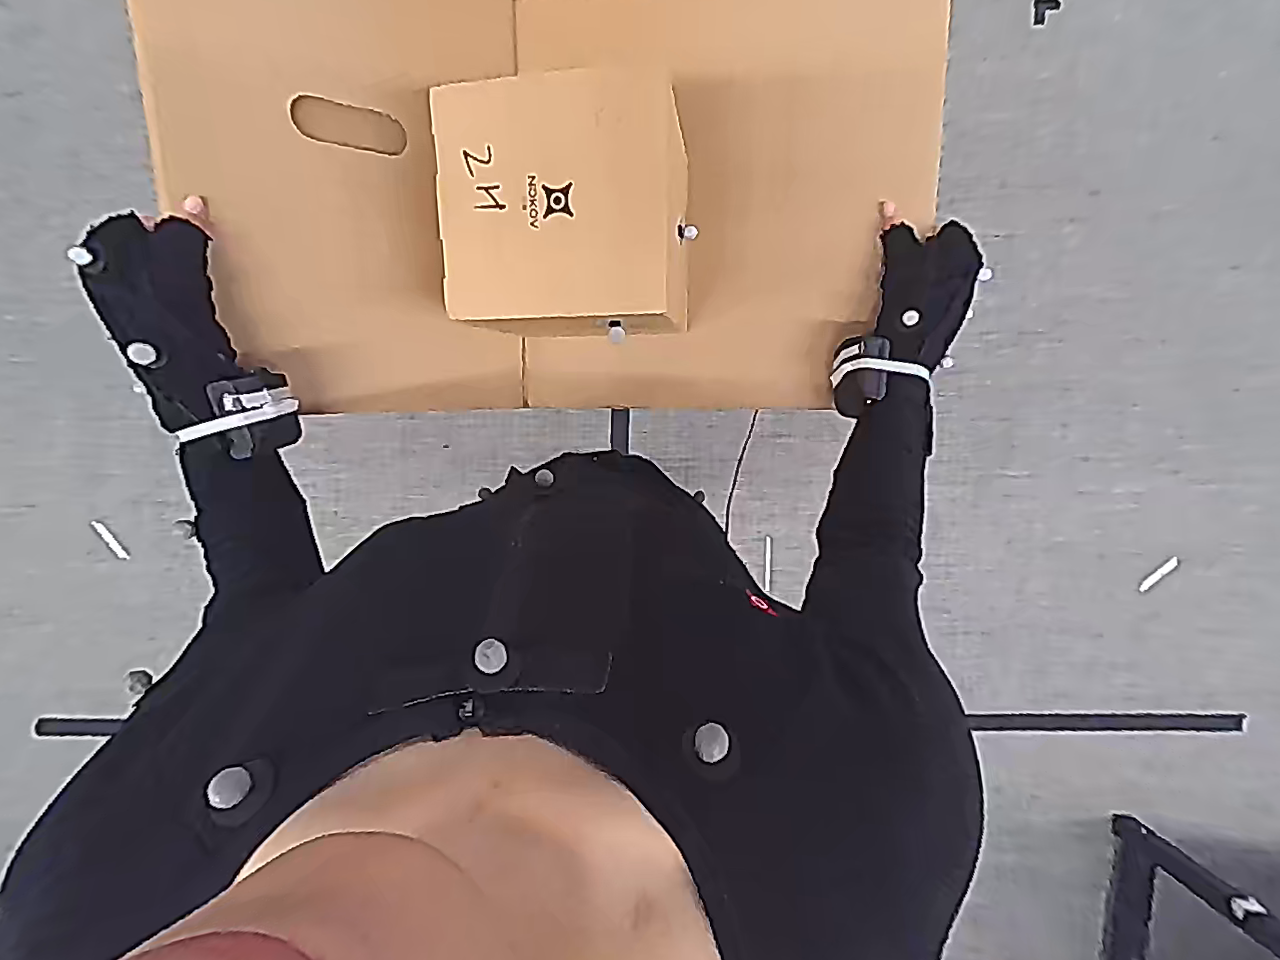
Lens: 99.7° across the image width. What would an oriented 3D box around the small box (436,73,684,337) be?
[{"bbox_3d":[-0.054,-0.221,0.481,0.179,0.176,0.168,2,100,11],"label":"small box"}]
